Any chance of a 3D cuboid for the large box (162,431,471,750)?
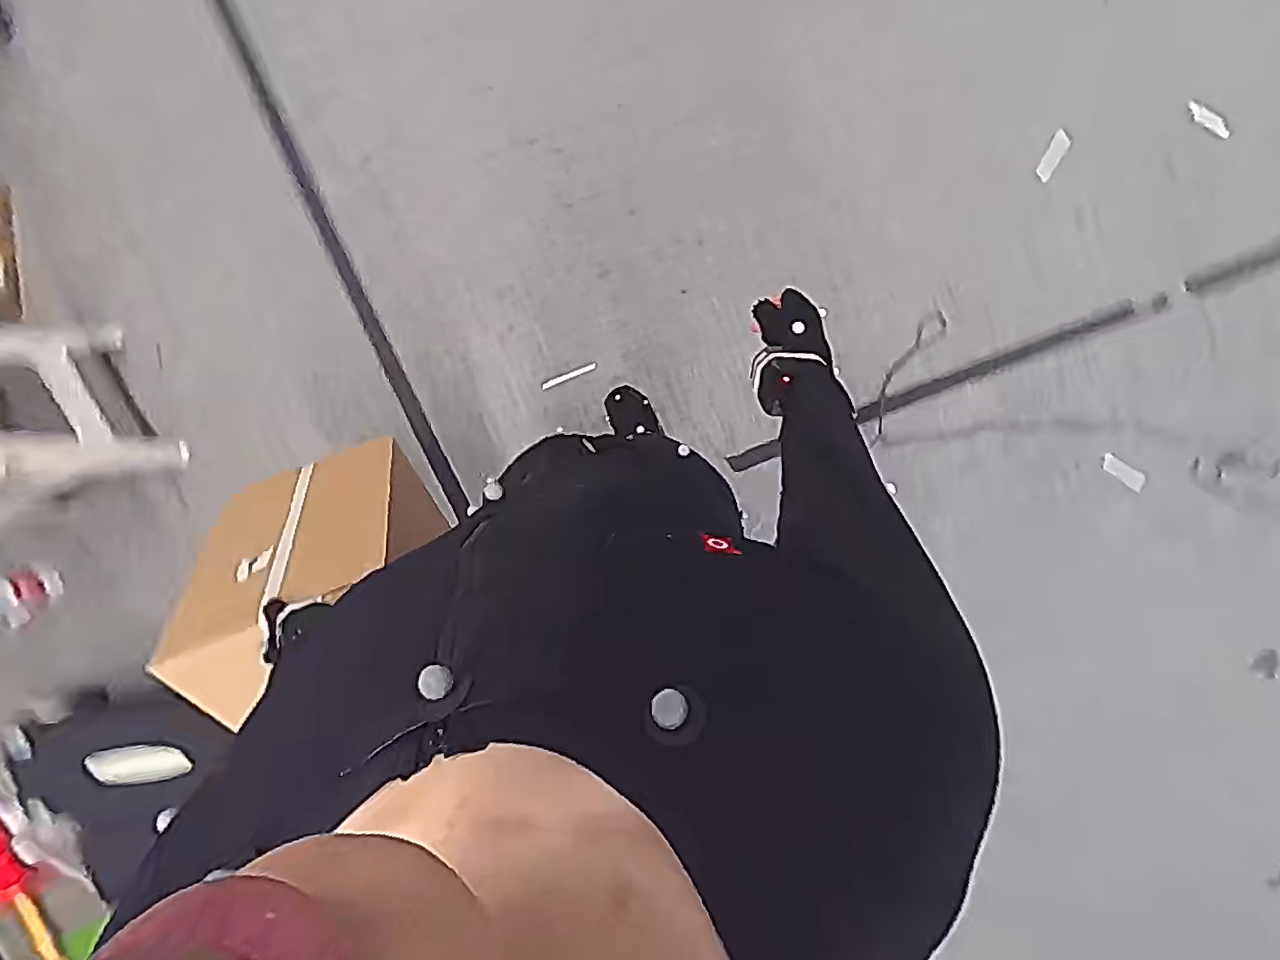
[{"bbox_3d":[-0.522,0.177,0.968,0.320,0.408,0.320,-22,130,-7],"label":"large box"}]
